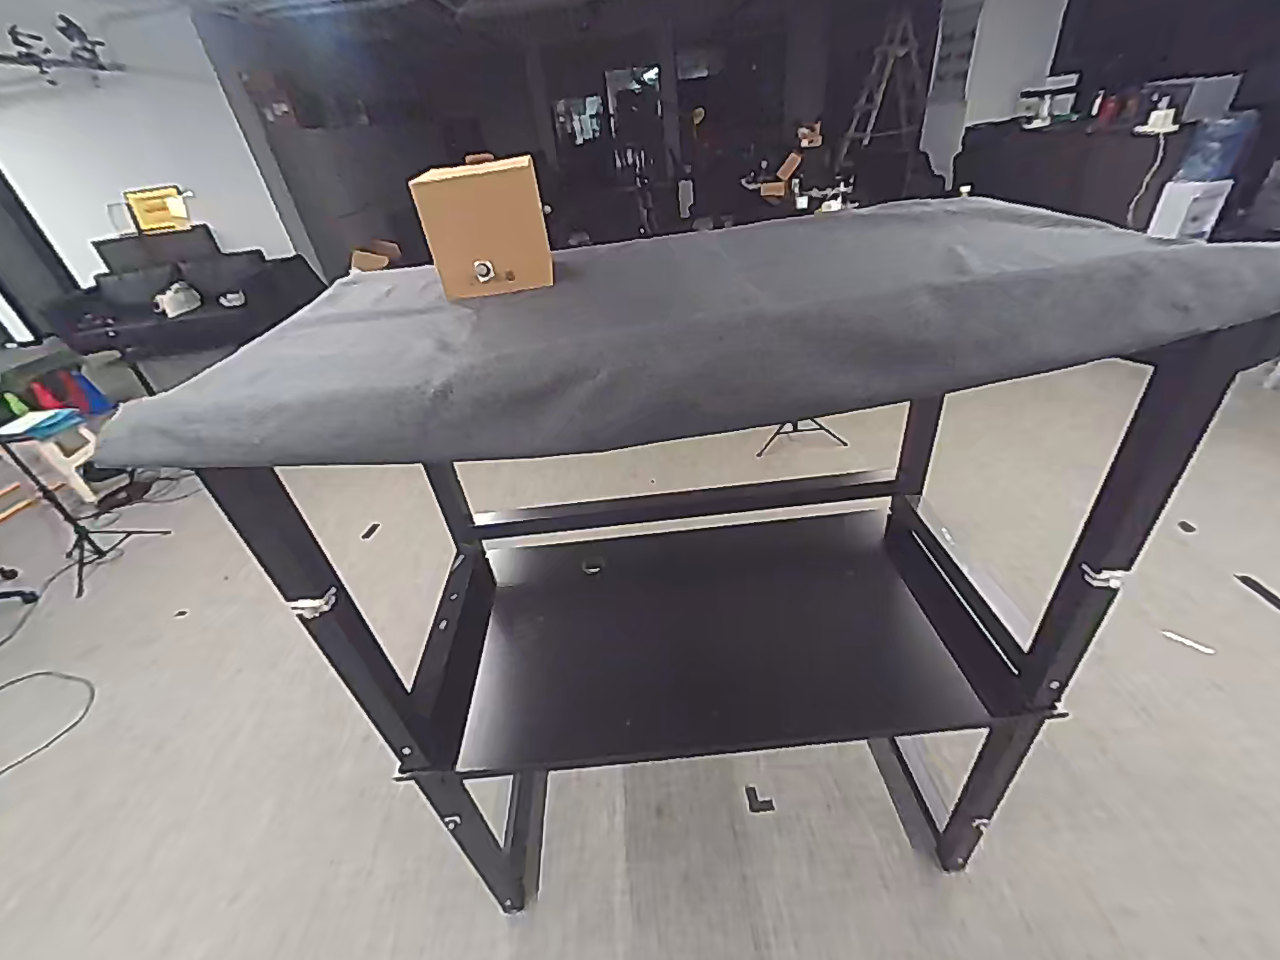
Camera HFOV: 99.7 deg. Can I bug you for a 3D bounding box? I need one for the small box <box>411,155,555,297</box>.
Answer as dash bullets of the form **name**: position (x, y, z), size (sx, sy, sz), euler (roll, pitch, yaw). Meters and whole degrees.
- **small box**: position (-0.231, -0.398, 0.845), size (0.168, 0.176, 0.179), euler (-10, 35, -2)
